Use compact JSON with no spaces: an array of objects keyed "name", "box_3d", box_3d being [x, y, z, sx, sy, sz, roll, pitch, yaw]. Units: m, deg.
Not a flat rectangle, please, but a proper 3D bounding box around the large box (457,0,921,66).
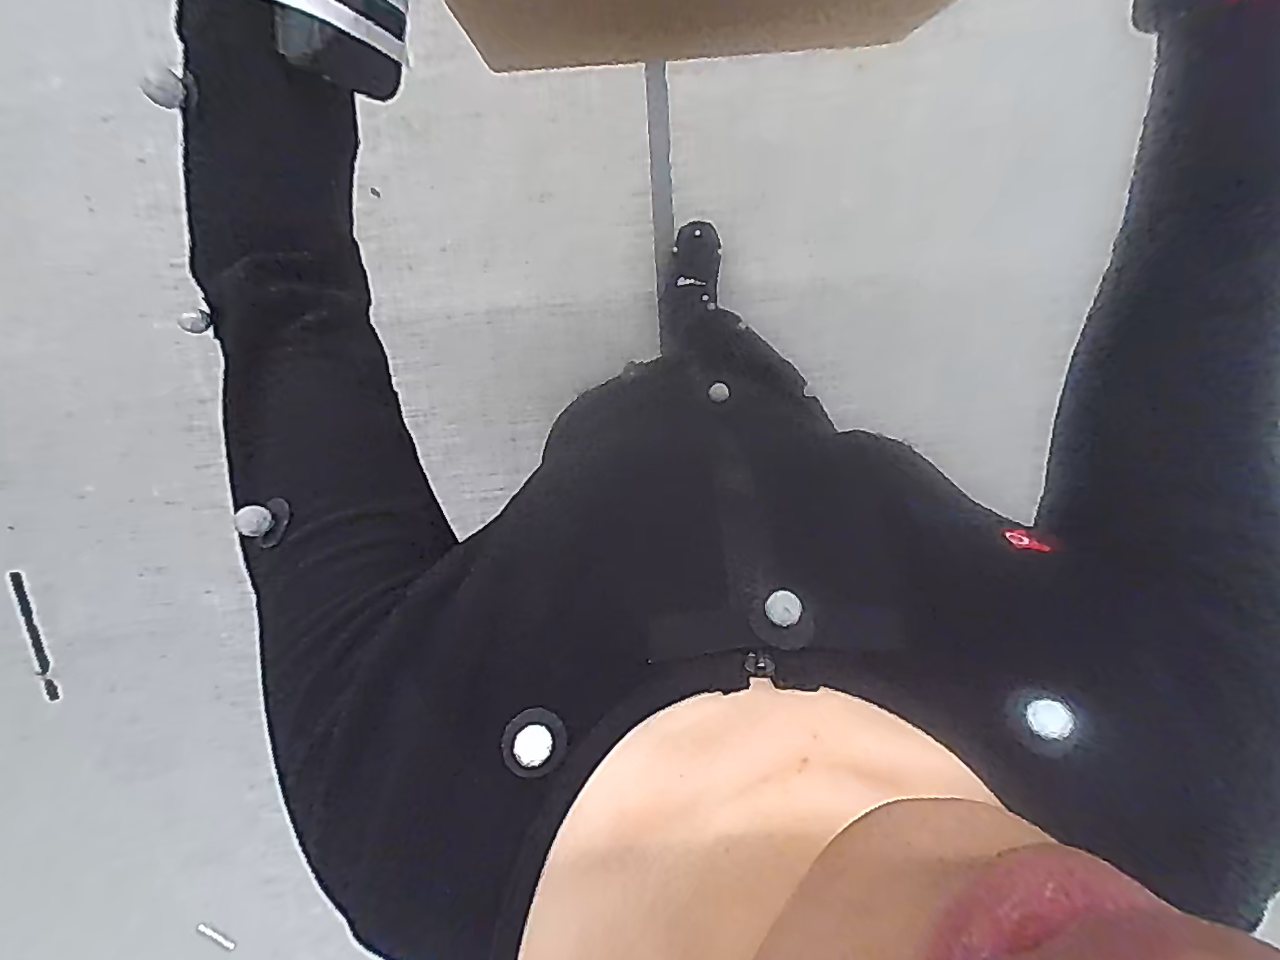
[{"name":"large box","box_3d":[0.046,-0.505,0.332,0.408,0.320,0.320,-6,113,-1]}]
